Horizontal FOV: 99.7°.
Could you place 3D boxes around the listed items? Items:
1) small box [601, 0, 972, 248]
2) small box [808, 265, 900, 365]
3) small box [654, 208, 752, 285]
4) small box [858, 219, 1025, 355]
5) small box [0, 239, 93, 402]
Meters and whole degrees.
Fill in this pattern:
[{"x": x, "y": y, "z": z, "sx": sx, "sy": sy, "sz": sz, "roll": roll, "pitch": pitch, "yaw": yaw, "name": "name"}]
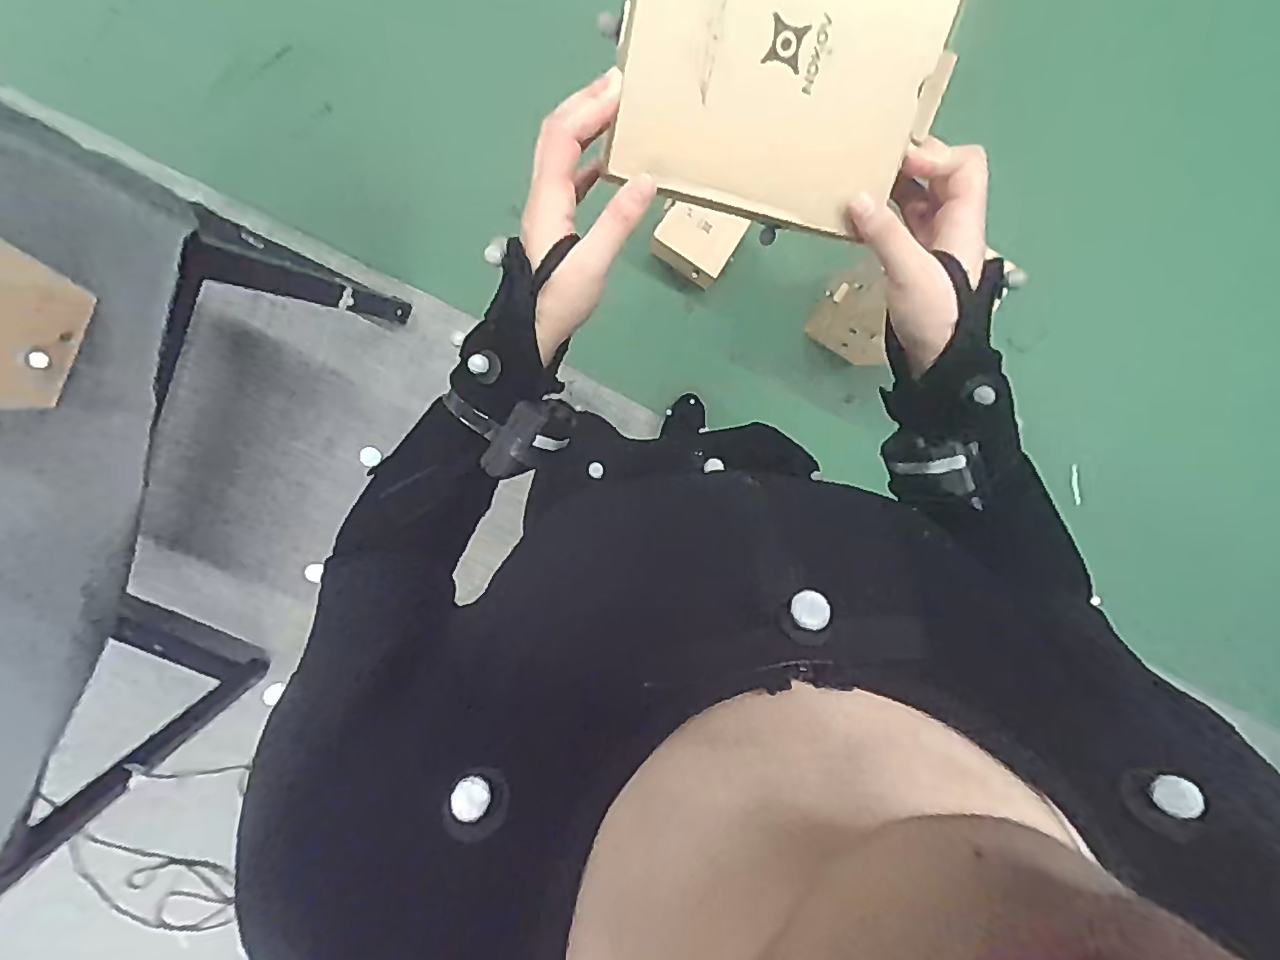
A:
[{"x": 0.074, "y": -0.263, "z": 0.355, "sx": 0.179, "sy": 0.176, "sz": 0.168, "roll": 8, "pitch": 115, "yaw": -9, "name": "small box"}, {"x": 0.548, "y": -0.398, "z": 1.326, "sx": 0.179, "sy": 0.176, "sz": 0.168, "roll": 30, "pitch": 100, "yaw": -6, "name": "small box"}, {"x": 0.149, "y": -0.584, "z": 1.284, "sx": 0.179, "sy": 0.176, "sz": 0.168, "roll": 32, "pitch": 98, "yaw": -6, "name": "small box"}, {"x": 0.541, "y": -0.342, "z": 1.002, "sx": 0.179, "sy": 0.176, "sz": 0.168, "roll": 29, "pitch": 99, "yaw": -5, "name": "small box"}, {"x": -0.796, "y": -0.194, "z": 0.602, "sx": 0.179, "sy": 0.176, "sz": 0.168, "roll": 32, "pitch": 100, "yaw": -4, "name": "small box"}]
